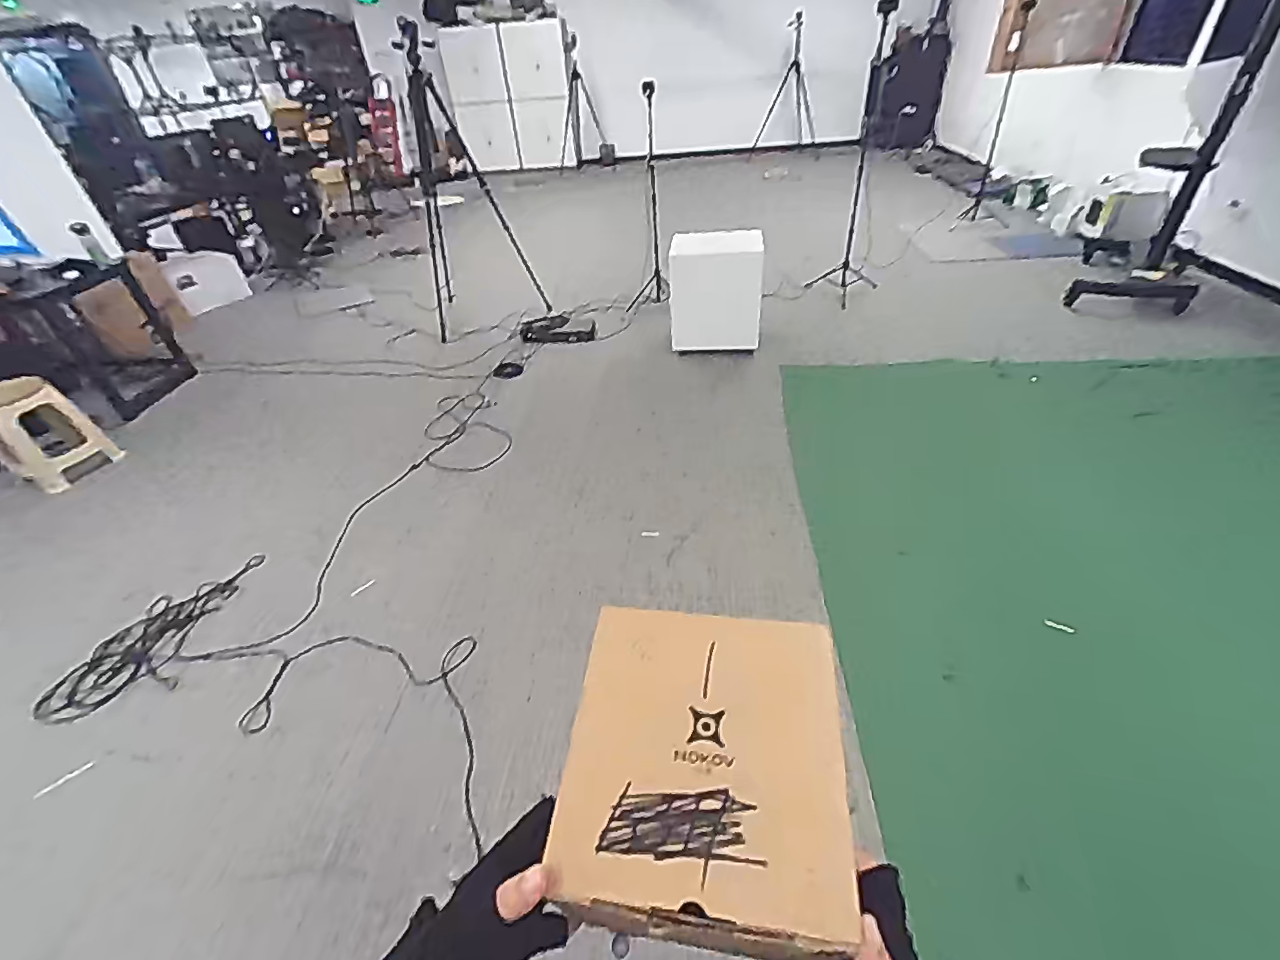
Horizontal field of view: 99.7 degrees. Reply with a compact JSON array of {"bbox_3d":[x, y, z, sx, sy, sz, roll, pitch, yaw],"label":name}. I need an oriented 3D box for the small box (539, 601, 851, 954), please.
[{"bbox_3d":[0.045,0.212,0.389,0.168,0.176,0.179,3,45,9],"label":"small box"}]
